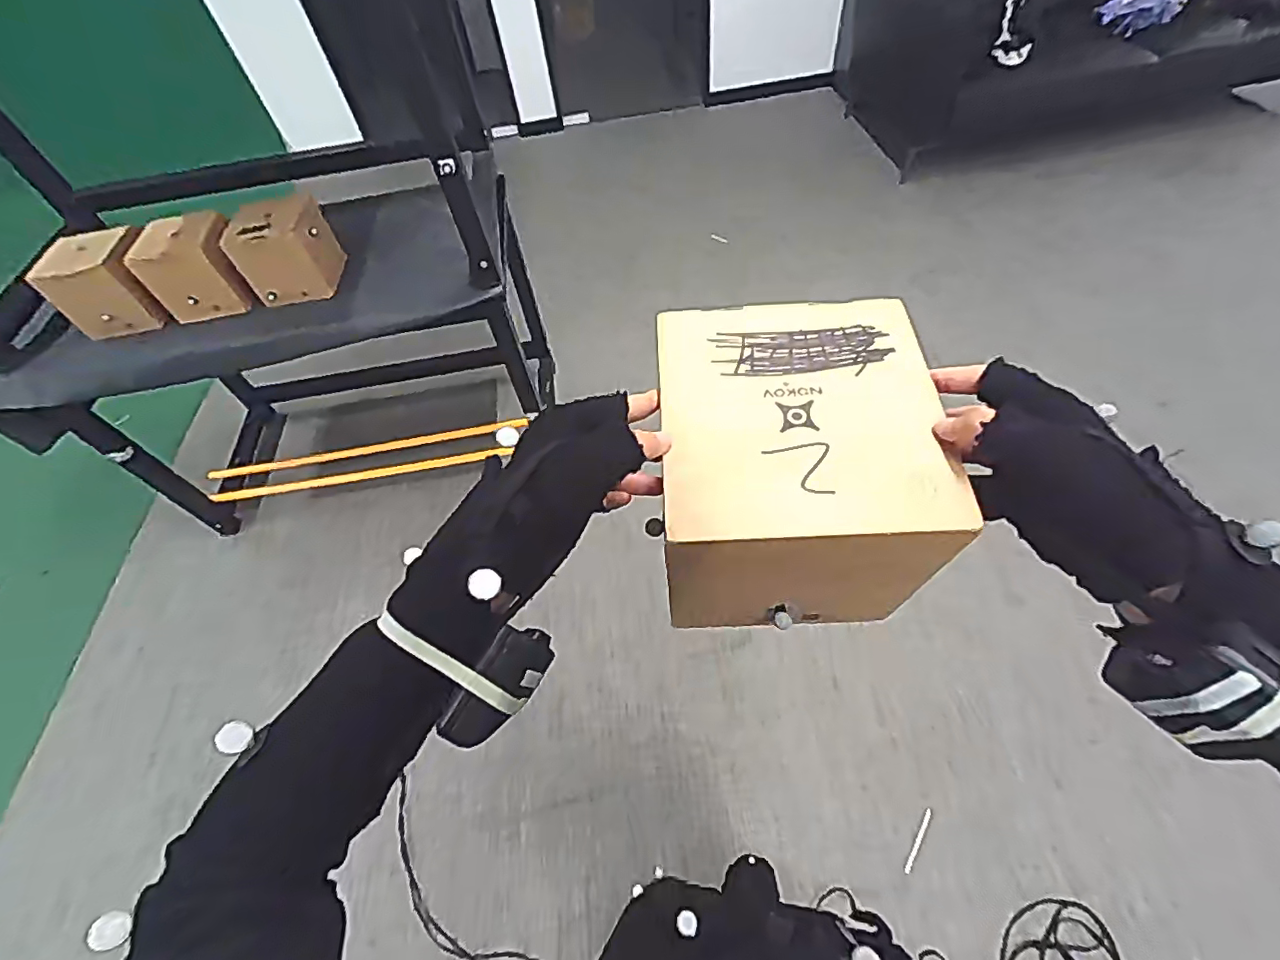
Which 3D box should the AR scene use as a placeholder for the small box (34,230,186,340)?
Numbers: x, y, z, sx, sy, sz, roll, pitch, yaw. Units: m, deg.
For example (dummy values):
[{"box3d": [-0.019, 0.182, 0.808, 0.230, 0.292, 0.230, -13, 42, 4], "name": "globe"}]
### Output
[{"box3d": [-1.238, -0.461, 1.283, 0.168, 0.176, 0.179, -11, 53, -2], "name": "small box"}]
